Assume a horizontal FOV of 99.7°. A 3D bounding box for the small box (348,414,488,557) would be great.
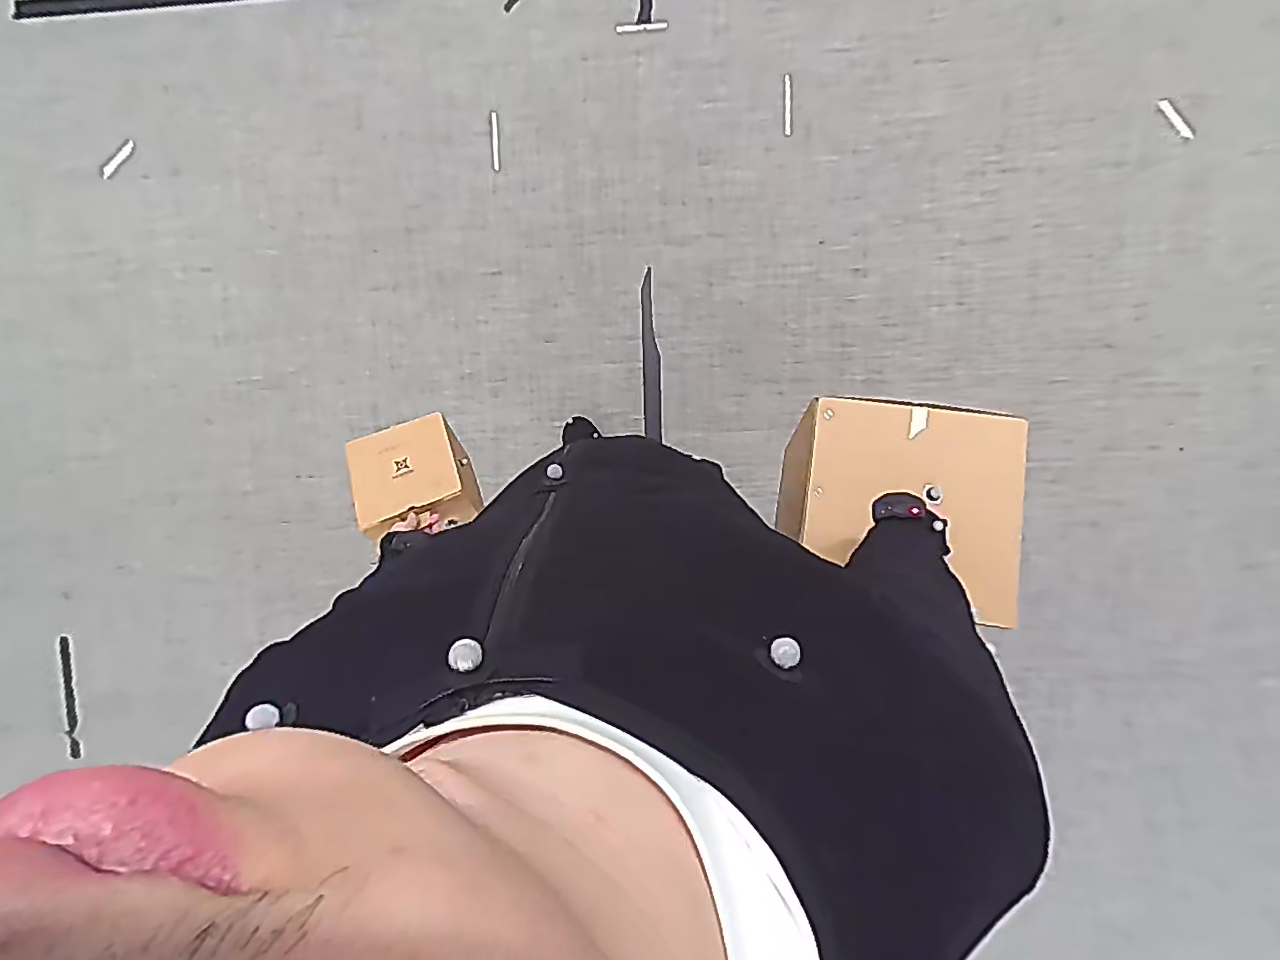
[{"bbox_3d":[-0.387,0.020,0.962,0.168,0.176,0.179,-20,61,-9],"label":"small box"}]
